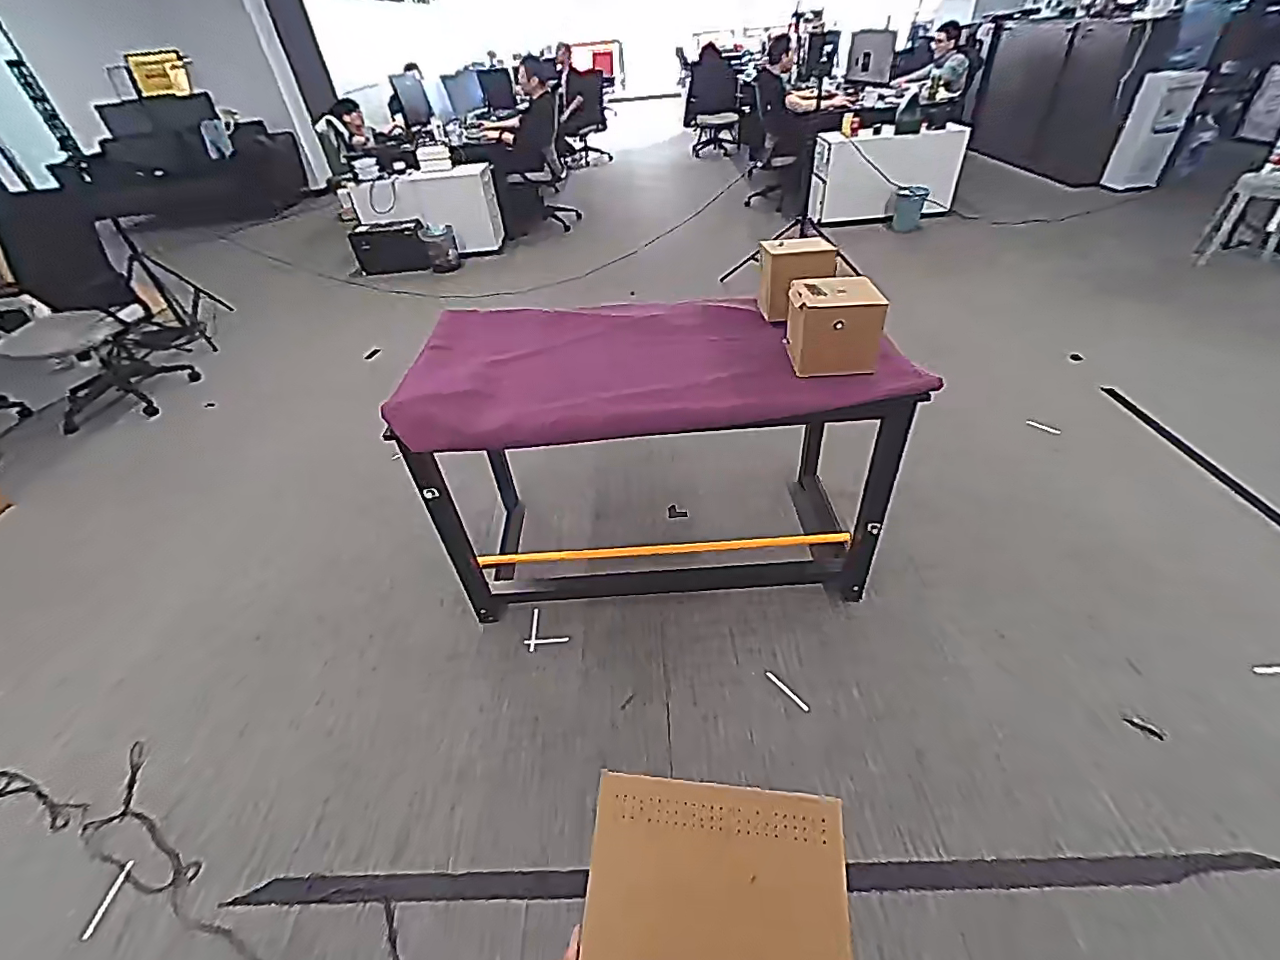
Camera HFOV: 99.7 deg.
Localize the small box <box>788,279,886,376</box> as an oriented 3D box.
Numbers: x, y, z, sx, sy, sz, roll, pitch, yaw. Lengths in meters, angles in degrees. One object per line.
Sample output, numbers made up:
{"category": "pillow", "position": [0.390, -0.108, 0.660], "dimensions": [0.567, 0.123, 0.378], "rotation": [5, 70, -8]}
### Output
{"category": "small box", "position": [0.446, -0.352, 1.257], "dimensions": [0.179, 0.176, 0.168], "rotation": [-2, 39, 4]}
